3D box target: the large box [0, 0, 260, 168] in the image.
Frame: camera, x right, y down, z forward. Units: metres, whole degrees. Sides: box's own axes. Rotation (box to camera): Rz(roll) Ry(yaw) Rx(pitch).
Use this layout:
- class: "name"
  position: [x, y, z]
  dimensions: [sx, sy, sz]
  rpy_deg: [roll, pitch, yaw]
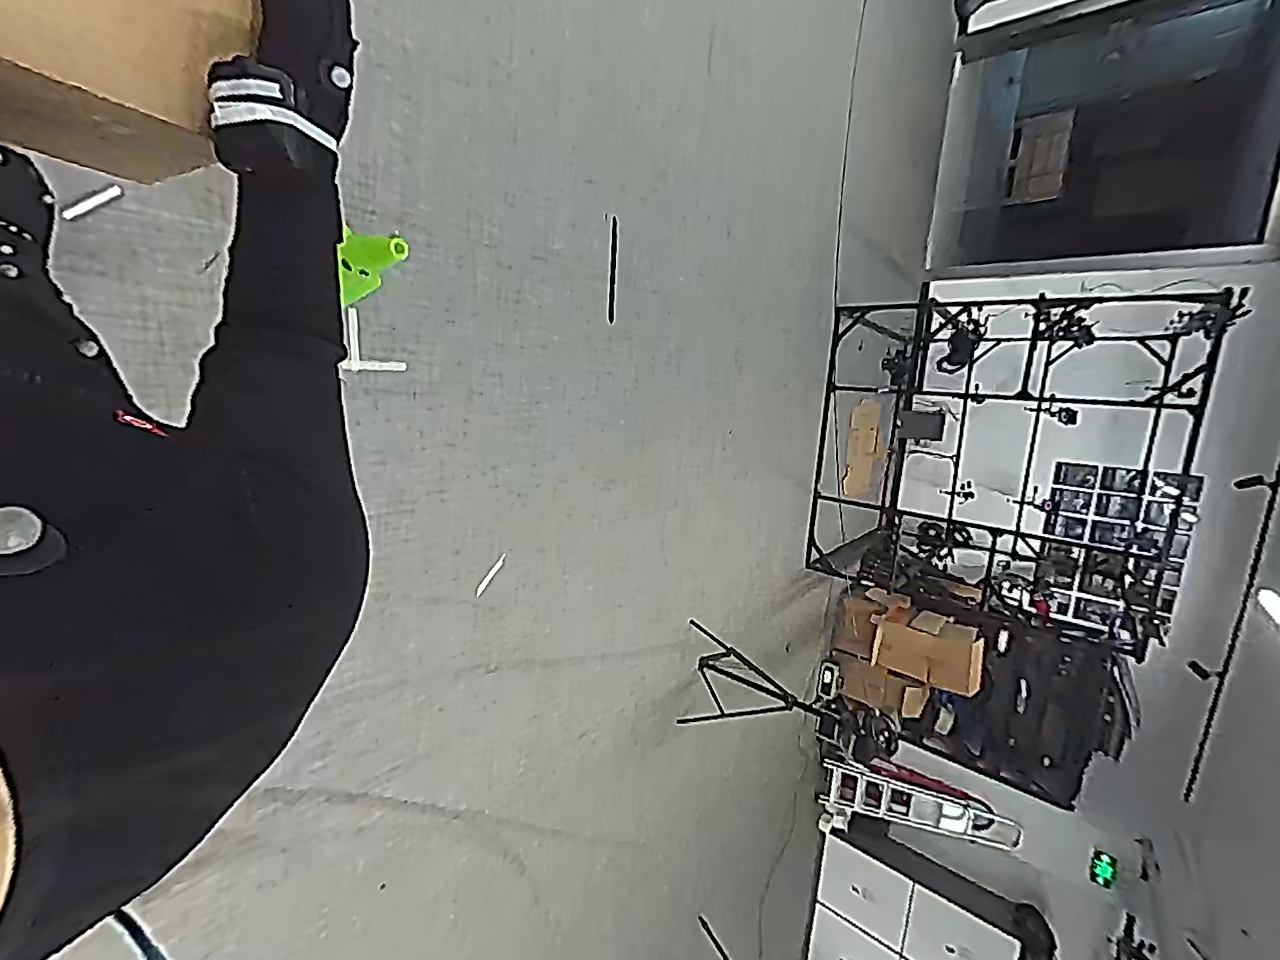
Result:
- class: "large box"
  position: [-0.511, -0.438, 0.318]
  dimensions: [0.408, 0.320, 0.320]
  rpy_deg: [-4, 107, -54]
